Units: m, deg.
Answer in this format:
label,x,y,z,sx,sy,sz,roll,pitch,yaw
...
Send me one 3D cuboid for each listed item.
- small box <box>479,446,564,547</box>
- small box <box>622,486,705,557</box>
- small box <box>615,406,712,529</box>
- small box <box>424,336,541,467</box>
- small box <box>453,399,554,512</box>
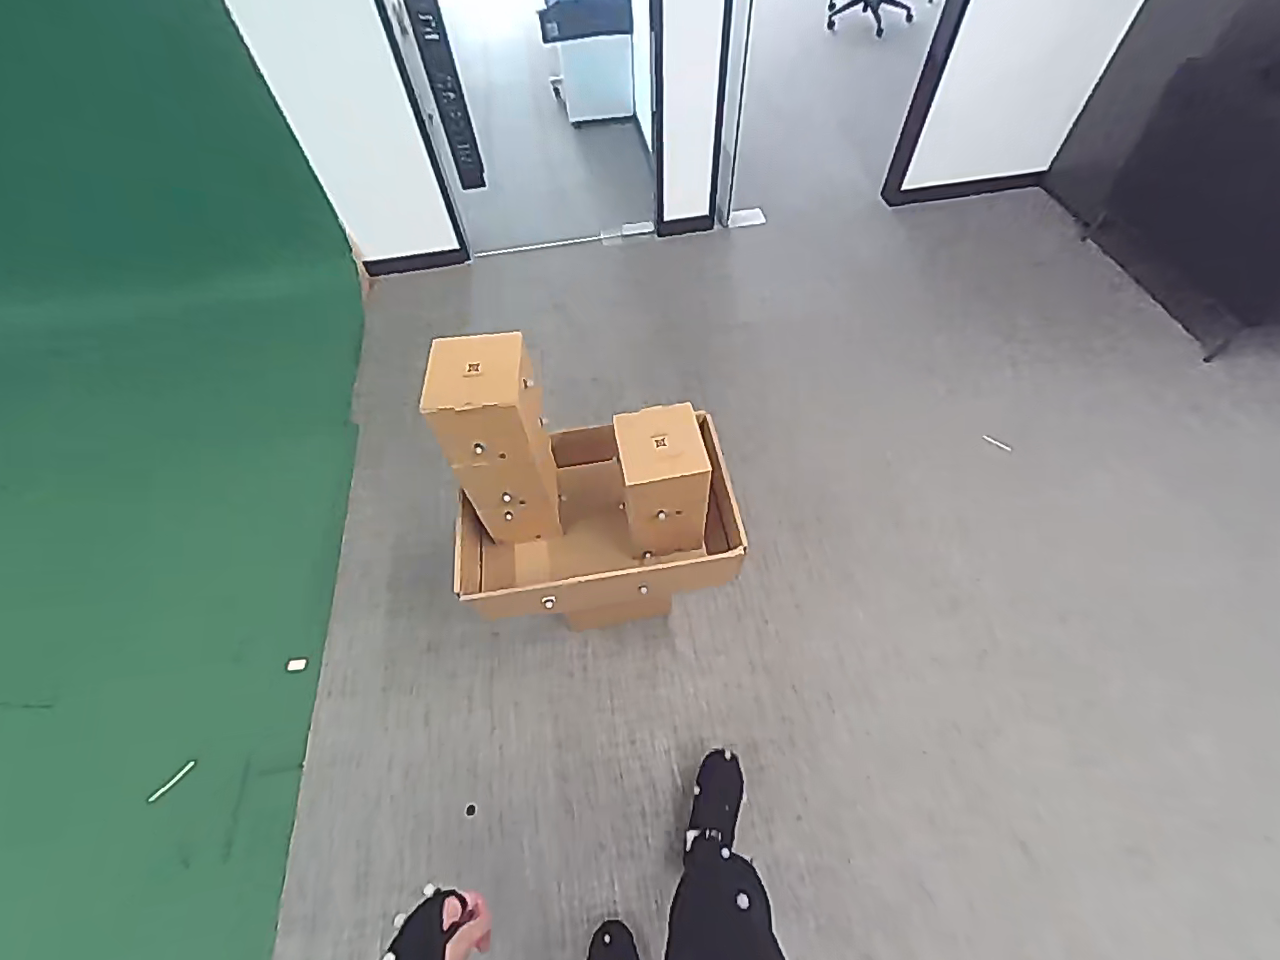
label,x,y,z,sx,sy,sz,roll,pitch,yaw
small box,-0.276,0.039,1.283,0.168,0.176,0.179,-7,56,-3
small box,0.050,0.066,1.249,0.168,0.176,0.179,-9,56,-4
small box,0.044,-0.023,1.112,0.168,0.176,0.179,-10,56,-4
small box,-0.283,-0.144,1.012,0.168,0.176,0.179,-4,57,0
small box,-0.280,-0.053,1.147,0.168,0.176,0.179,-6,57,0
